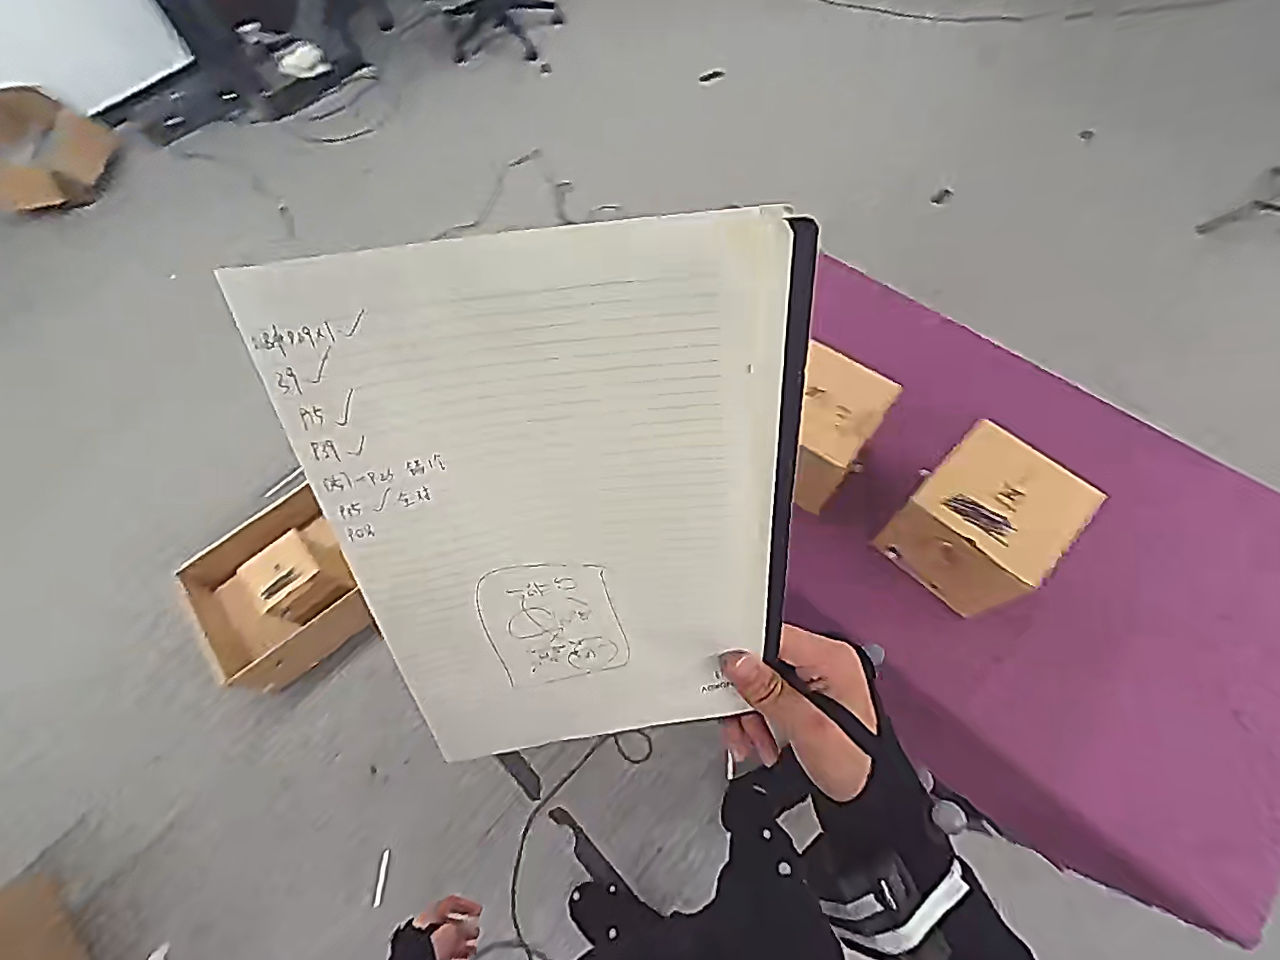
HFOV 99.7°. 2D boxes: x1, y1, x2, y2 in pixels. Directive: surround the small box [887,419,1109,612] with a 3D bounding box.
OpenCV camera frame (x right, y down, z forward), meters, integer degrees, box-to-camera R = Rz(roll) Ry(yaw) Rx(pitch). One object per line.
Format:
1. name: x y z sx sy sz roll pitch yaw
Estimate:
1. small box: 0.476 0.057 0.753 0.179 0.176 0.168 -41 68 -15
